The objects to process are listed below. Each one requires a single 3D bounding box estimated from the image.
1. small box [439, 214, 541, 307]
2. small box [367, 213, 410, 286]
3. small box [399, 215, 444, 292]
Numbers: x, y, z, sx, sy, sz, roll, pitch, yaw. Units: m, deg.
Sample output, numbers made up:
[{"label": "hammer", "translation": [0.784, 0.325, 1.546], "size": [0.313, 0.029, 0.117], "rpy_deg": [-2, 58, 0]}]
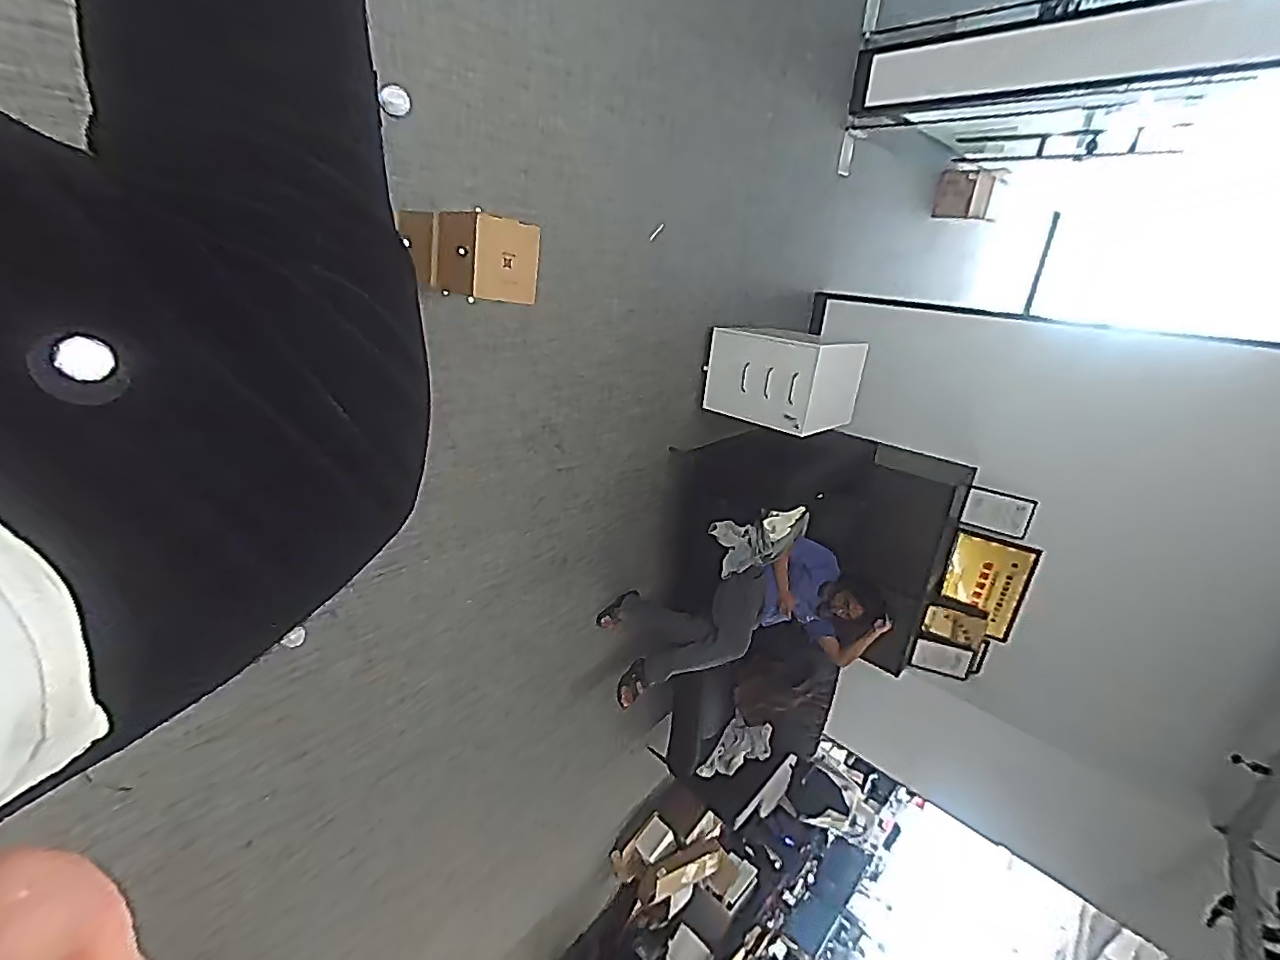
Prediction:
[{"label": "small box", "translation": [-0.352, -0.509, 1.256], "size": [0.168, 0.176, 0.179], "rpy_deg": [-12, 118, -46]}, {"label": "small box", "translation": [-0.603, -0.607, 1.441], "size": [0.179, 0.176, 0.168], "rpy_deg": [-12, 118, -47]}, {"label": "small box", "translation": [-0.476, -0.555, 1.348], "size": [0.179, 0.176, 0.168], "rpy_deg": [-10, 116, -47]}]
